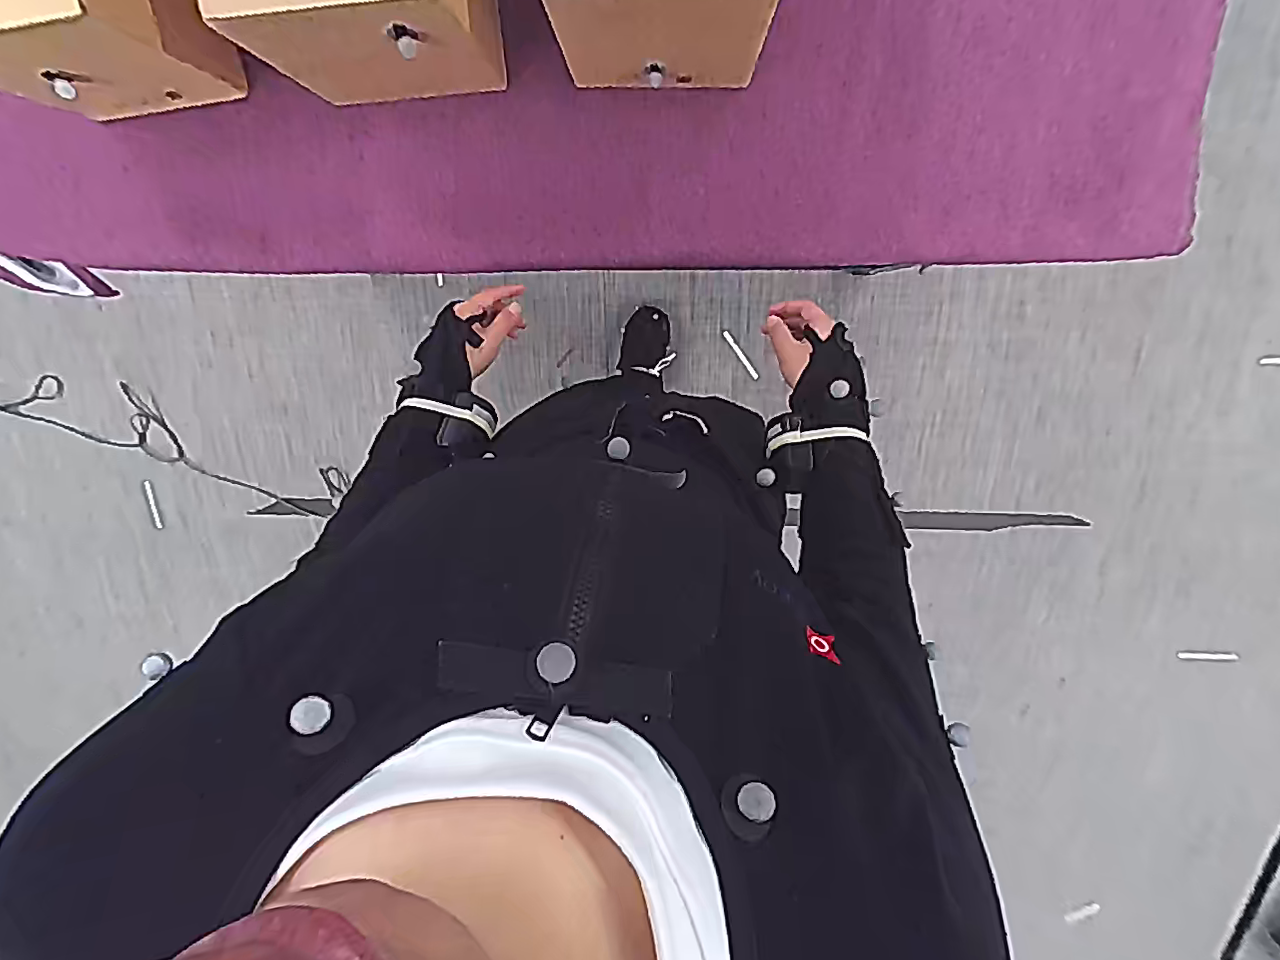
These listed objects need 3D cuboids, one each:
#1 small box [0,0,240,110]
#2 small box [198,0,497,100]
[{"bbox_3d":[-0.477,-0.428,0.438,0.168,0.176,0.179,-6,107,4],"label":"small box"},{"bbox_3d":[-0.221,-0.428,0.425,0.179,0.176,0.168,-3,106,3],"label":"small box"}]
